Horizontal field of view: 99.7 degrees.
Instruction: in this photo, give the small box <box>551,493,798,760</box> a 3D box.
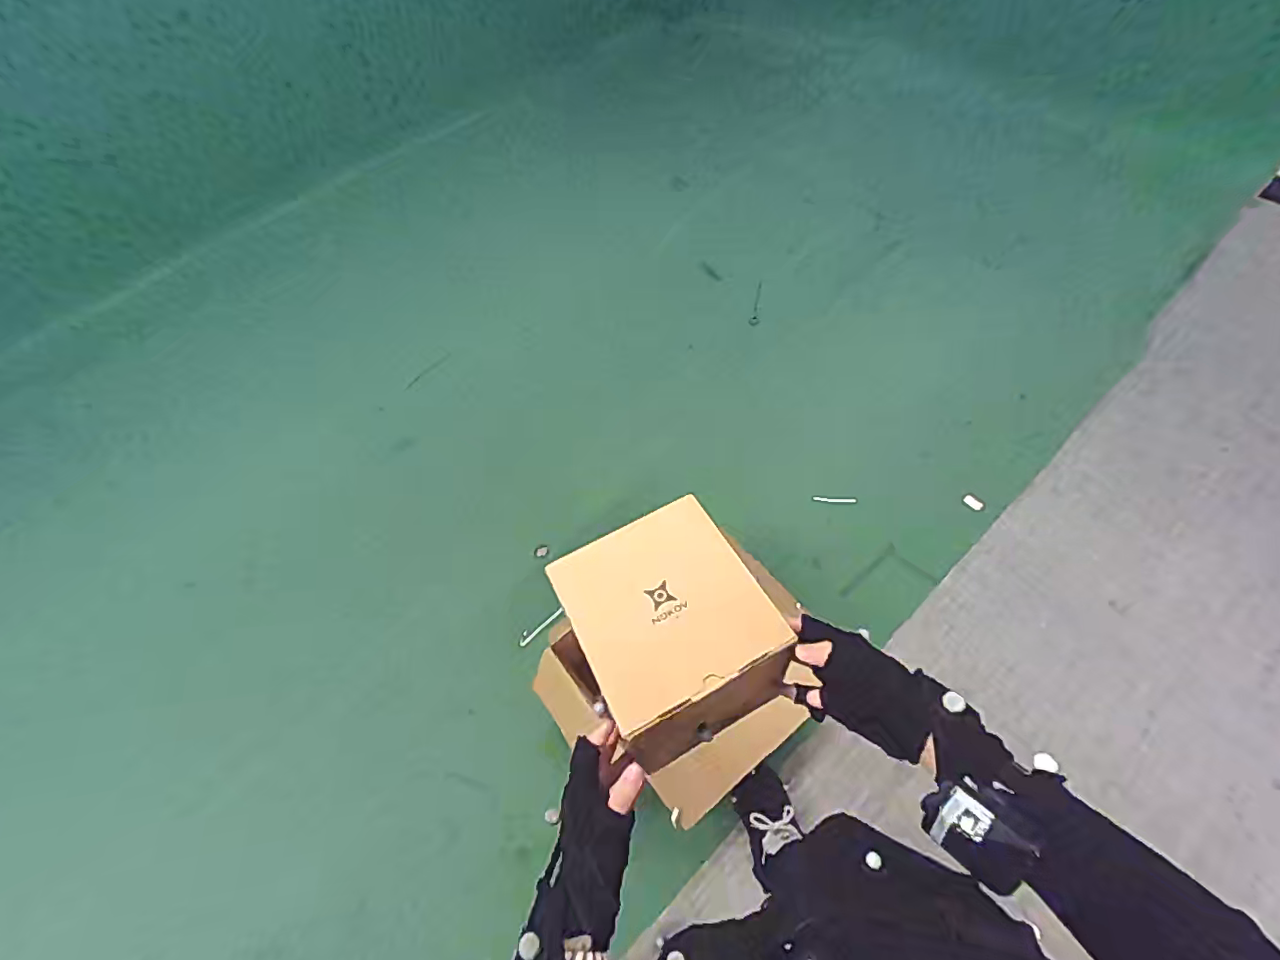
[{"bbox_3d":[0.029,0.151,0.548,0.168,0.176,0.179,-26,56,-13],"label":"small box"}]
